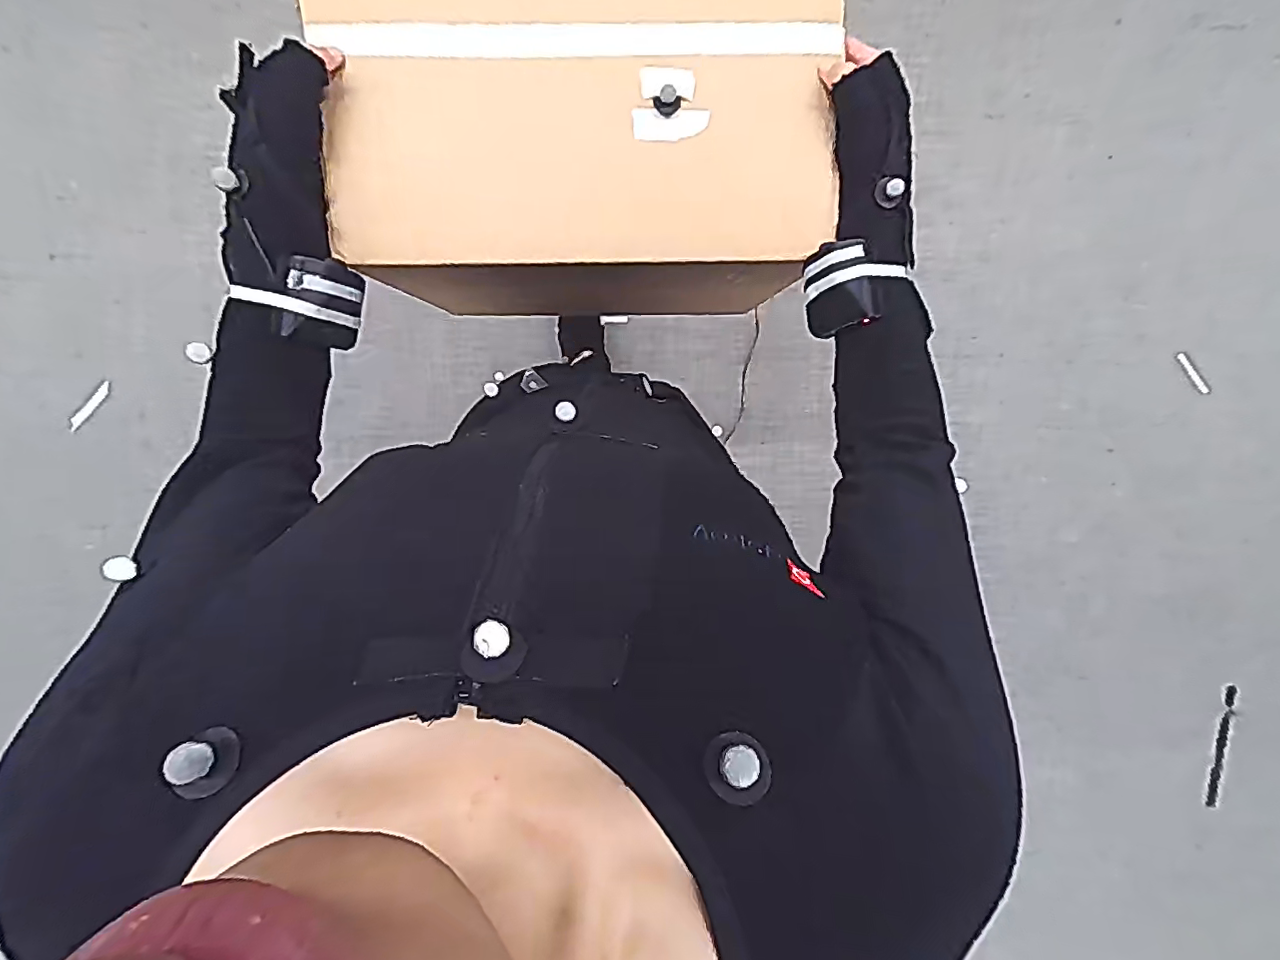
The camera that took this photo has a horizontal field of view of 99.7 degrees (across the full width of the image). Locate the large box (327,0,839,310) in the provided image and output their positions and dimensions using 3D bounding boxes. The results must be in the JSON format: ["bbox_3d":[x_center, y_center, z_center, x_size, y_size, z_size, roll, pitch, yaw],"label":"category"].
[{"bbox_3d":[-0.048,-0.367,0.569,0.408,0.320,0.320,-1,99,-2],"label":"large box"}]
